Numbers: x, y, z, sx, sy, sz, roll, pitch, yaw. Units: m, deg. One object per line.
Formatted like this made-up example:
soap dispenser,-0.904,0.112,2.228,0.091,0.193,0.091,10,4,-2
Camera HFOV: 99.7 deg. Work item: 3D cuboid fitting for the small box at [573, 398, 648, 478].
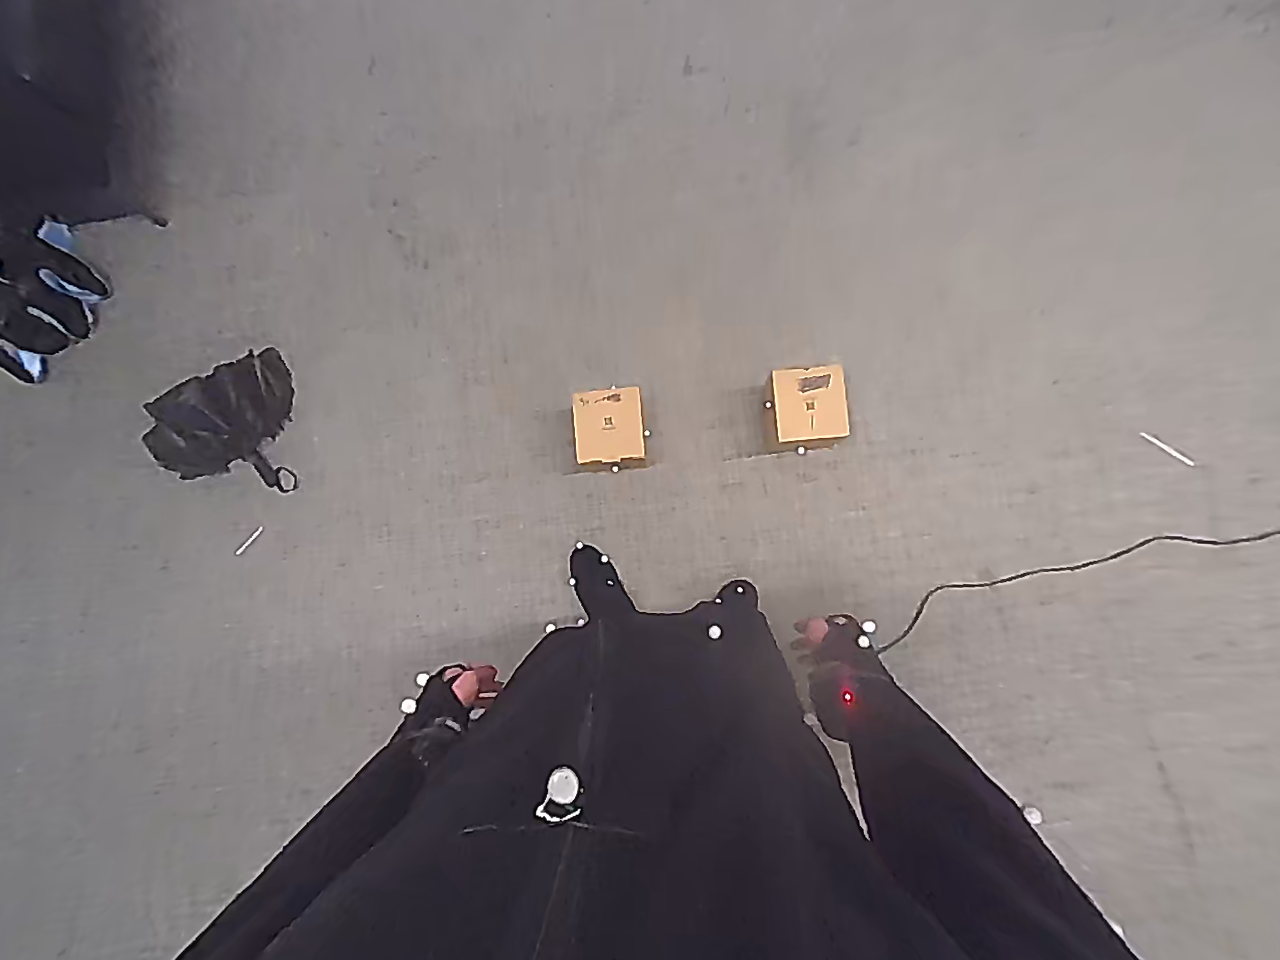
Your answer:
small box,-0.071,-0.100,1.389,0.168,0.176,0.179,-5,82,3

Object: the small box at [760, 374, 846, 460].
small box,0.402,-0.154,1.363,0.168,0.176,0.179,-5,84,4
